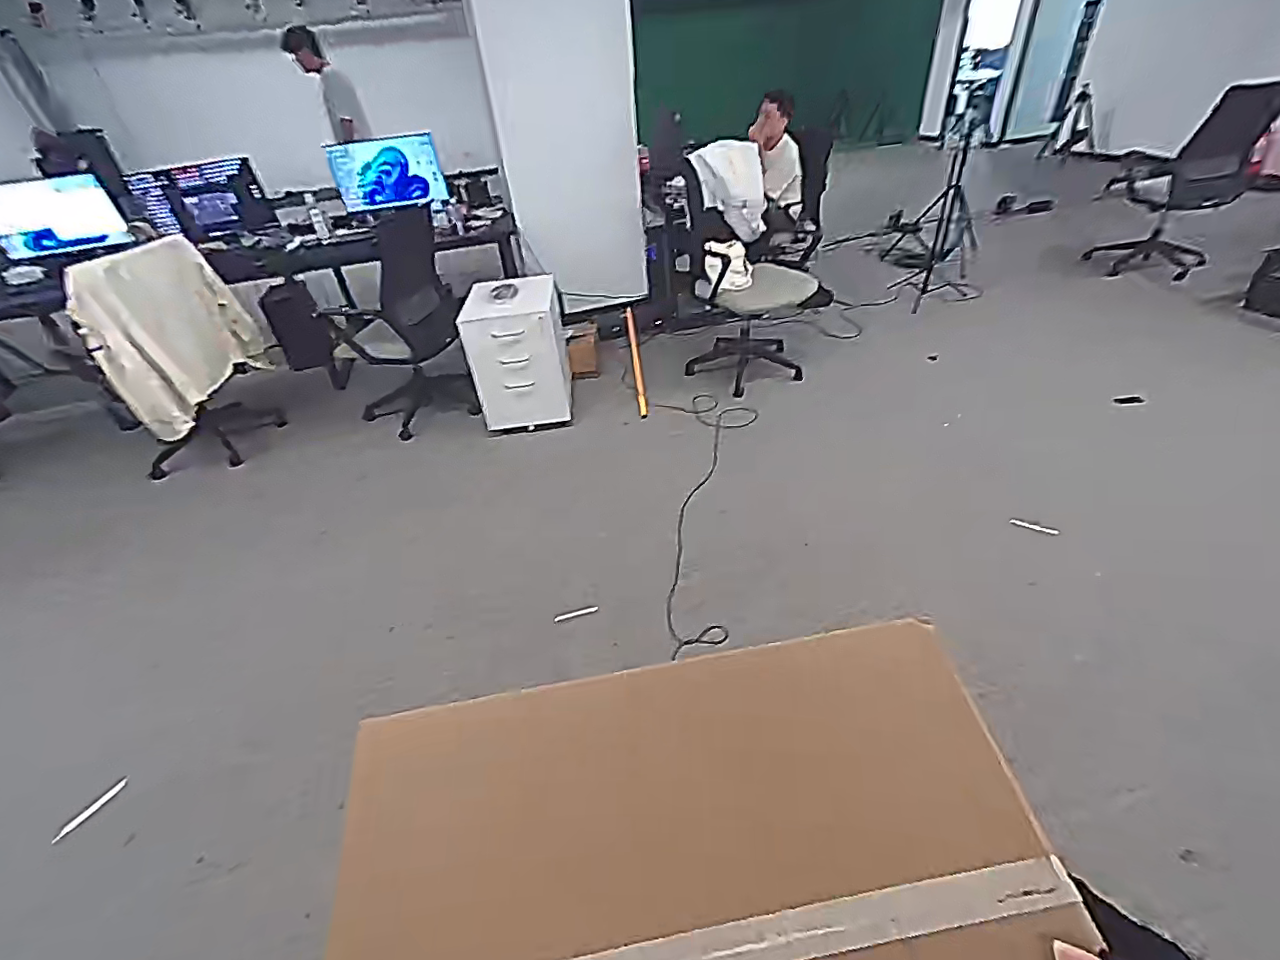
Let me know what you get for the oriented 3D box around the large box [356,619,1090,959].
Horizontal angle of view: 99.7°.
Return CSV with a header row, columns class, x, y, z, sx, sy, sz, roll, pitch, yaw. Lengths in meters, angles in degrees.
class,x,y,z,sx,sy,sz,roll,pitch,yaw
large box,0.046,0.347,0.418,0.408,0.320,0.320,-10,53,-2
